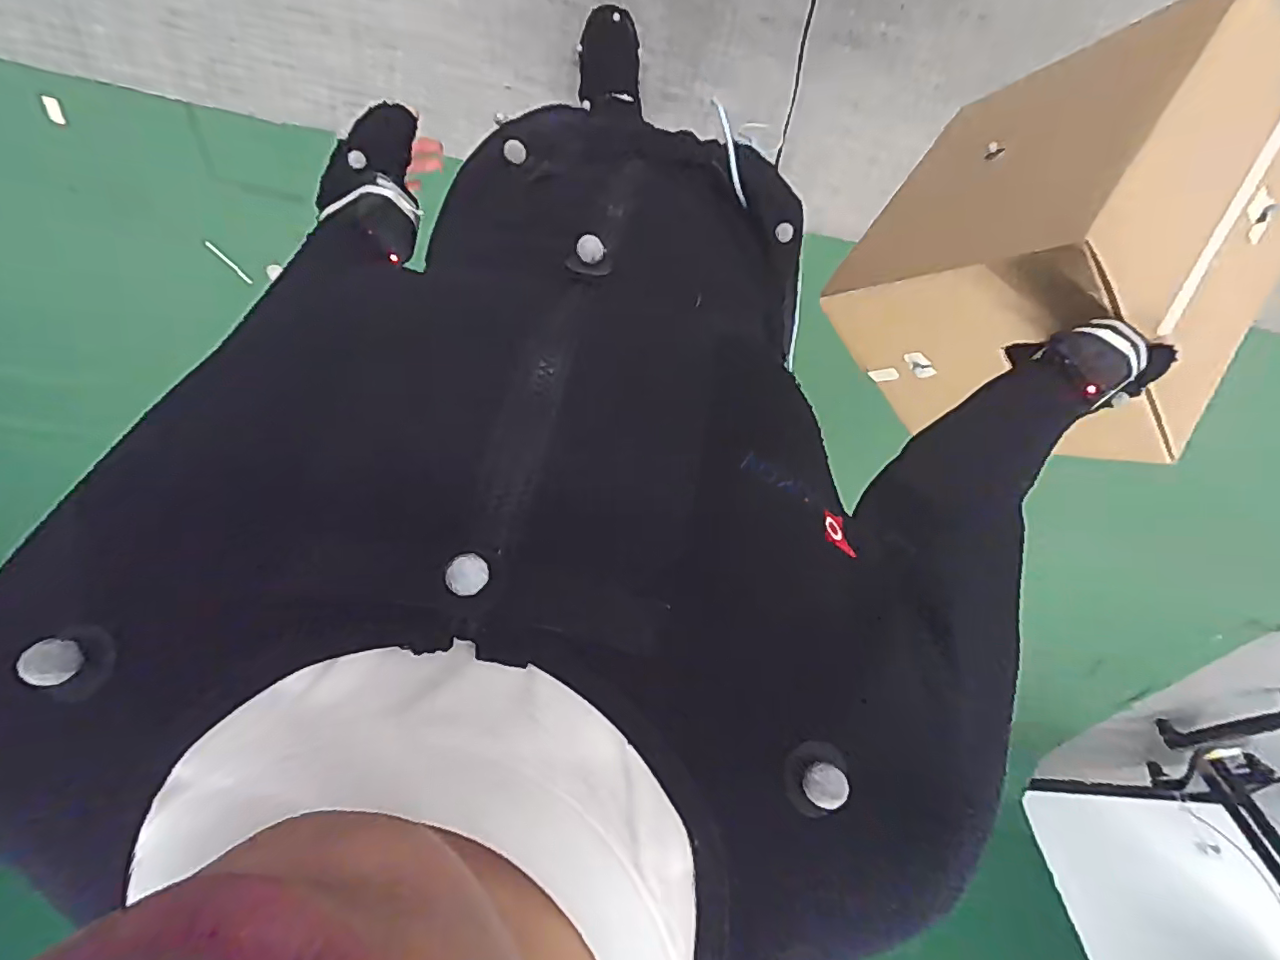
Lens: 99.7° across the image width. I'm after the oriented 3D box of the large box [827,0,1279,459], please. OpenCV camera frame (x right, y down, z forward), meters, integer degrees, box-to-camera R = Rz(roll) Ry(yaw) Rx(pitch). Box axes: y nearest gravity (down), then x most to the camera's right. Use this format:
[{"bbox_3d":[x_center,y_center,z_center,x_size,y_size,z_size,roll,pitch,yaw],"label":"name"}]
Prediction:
[{"bbox_3d":[0.527,-0.285,0.703,0.320,0.320,0.408,42,78,-27],"label":"large box"}]
